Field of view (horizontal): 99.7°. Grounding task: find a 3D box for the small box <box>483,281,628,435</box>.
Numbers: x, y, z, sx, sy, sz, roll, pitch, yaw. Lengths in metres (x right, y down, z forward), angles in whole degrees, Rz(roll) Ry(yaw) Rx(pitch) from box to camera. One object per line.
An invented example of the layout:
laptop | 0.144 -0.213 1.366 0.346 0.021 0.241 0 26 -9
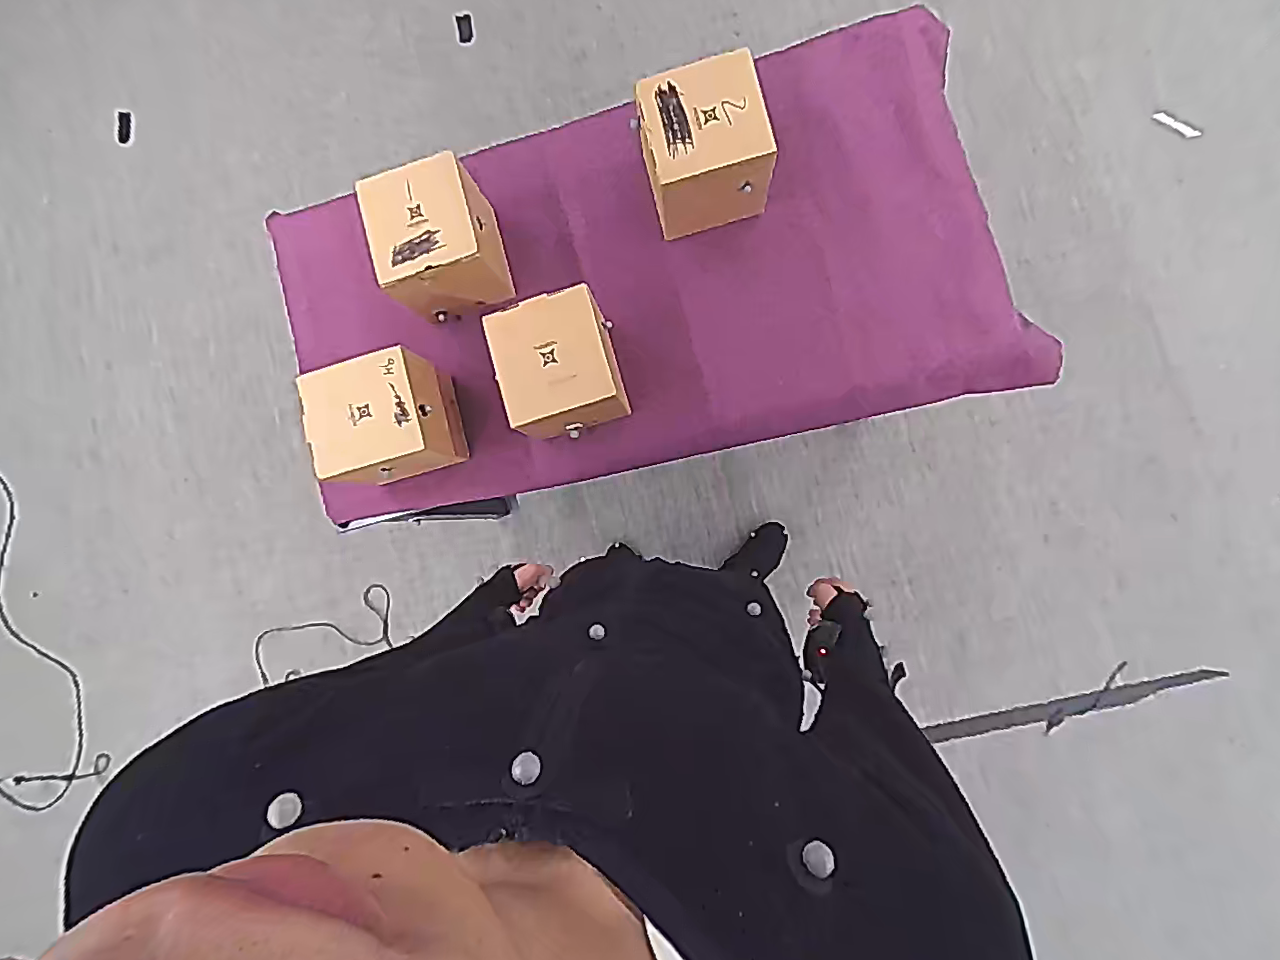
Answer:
small box | -0.125 -0.184 0.866 0.168 0.176 0.179 -16 87 6

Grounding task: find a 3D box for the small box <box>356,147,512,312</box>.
small box | -0.331 -0.398 0.900 0.168 0.176 0.179 -16 85 5

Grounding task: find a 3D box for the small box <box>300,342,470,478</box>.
small box | -0.409 -0.103 0.889 0.179 0.176 0.168 -15 86 5
